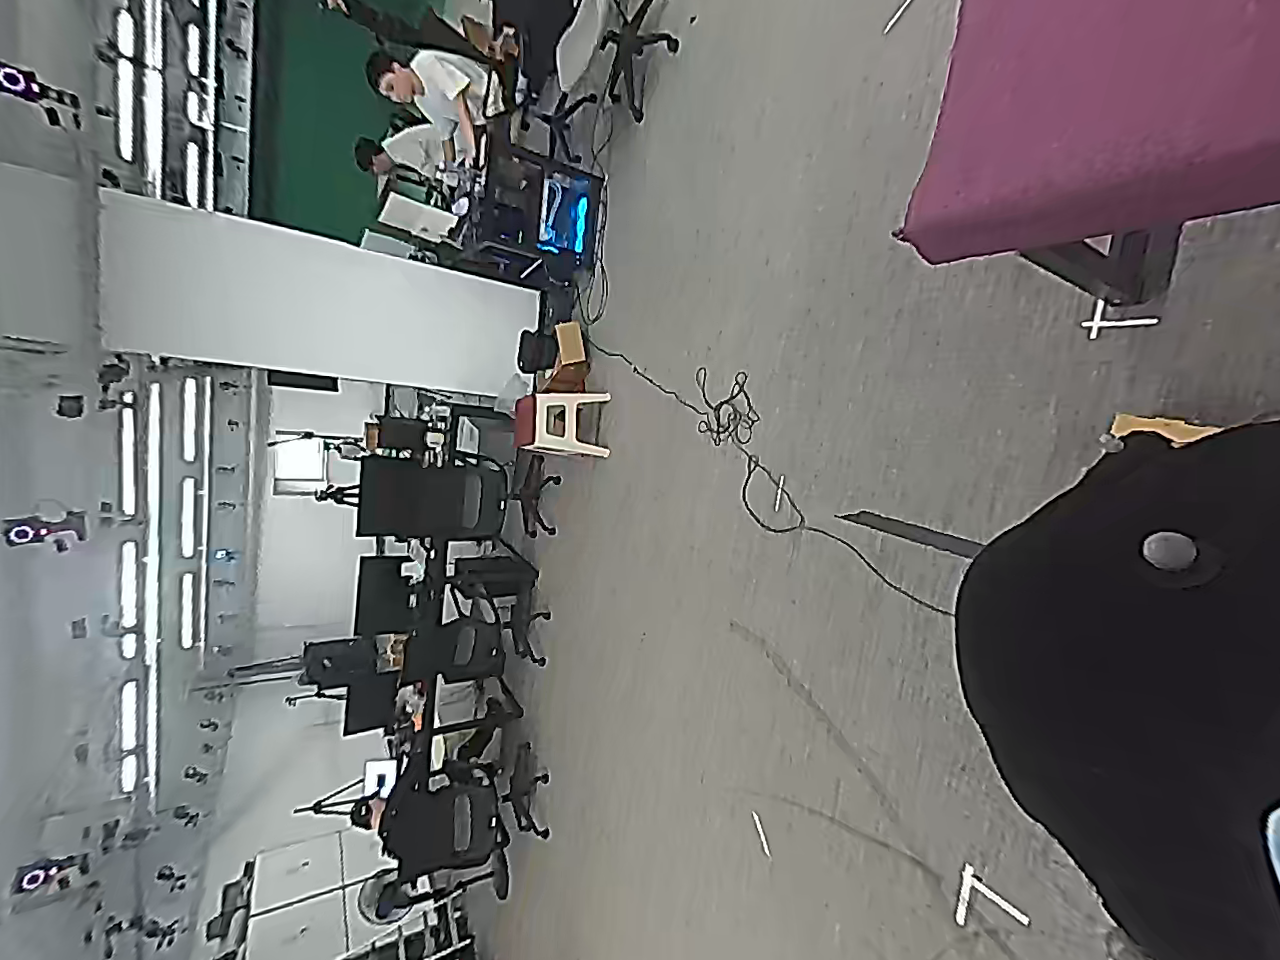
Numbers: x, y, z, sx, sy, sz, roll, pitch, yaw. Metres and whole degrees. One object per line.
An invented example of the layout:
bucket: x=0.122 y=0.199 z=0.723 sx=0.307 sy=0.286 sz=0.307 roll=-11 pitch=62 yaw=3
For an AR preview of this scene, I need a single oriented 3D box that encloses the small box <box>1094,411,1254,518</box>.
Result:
small box: x=1.065 y=-0.032 z=1.080 sx=0.168 sy=0.176 sz=0.179 roll=29 pitch=113 yaw=55
